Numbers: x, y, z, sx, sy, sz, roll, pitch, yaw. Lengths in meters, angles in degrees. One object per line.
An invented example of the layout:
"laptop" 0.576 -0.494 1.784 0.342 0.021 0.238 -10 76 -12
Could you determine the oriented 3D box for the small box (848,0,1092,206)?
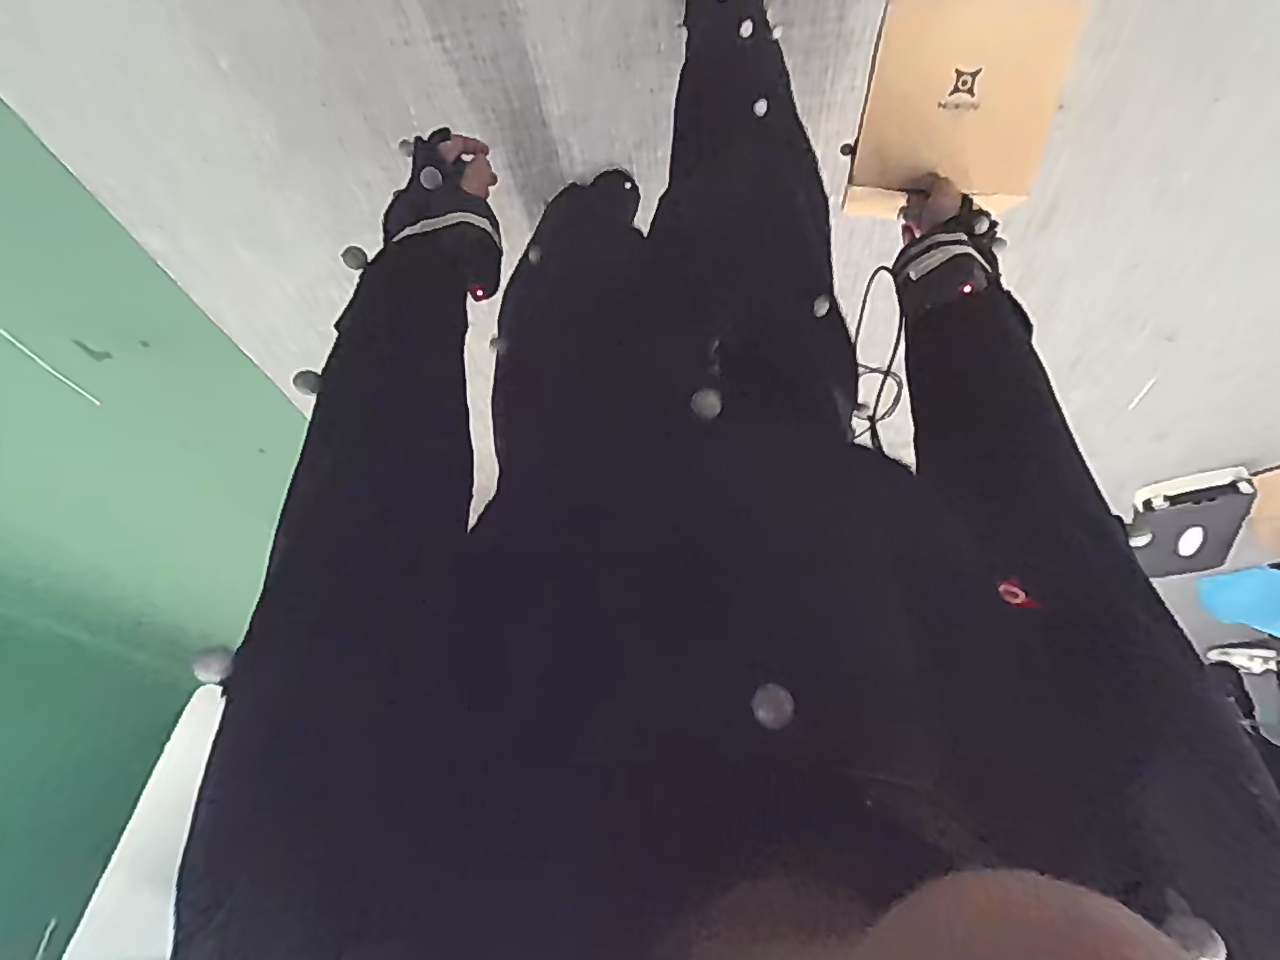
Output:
"small box" 0.318 -0.394 0.559 0.168 0.176 0.179 10 113 15
